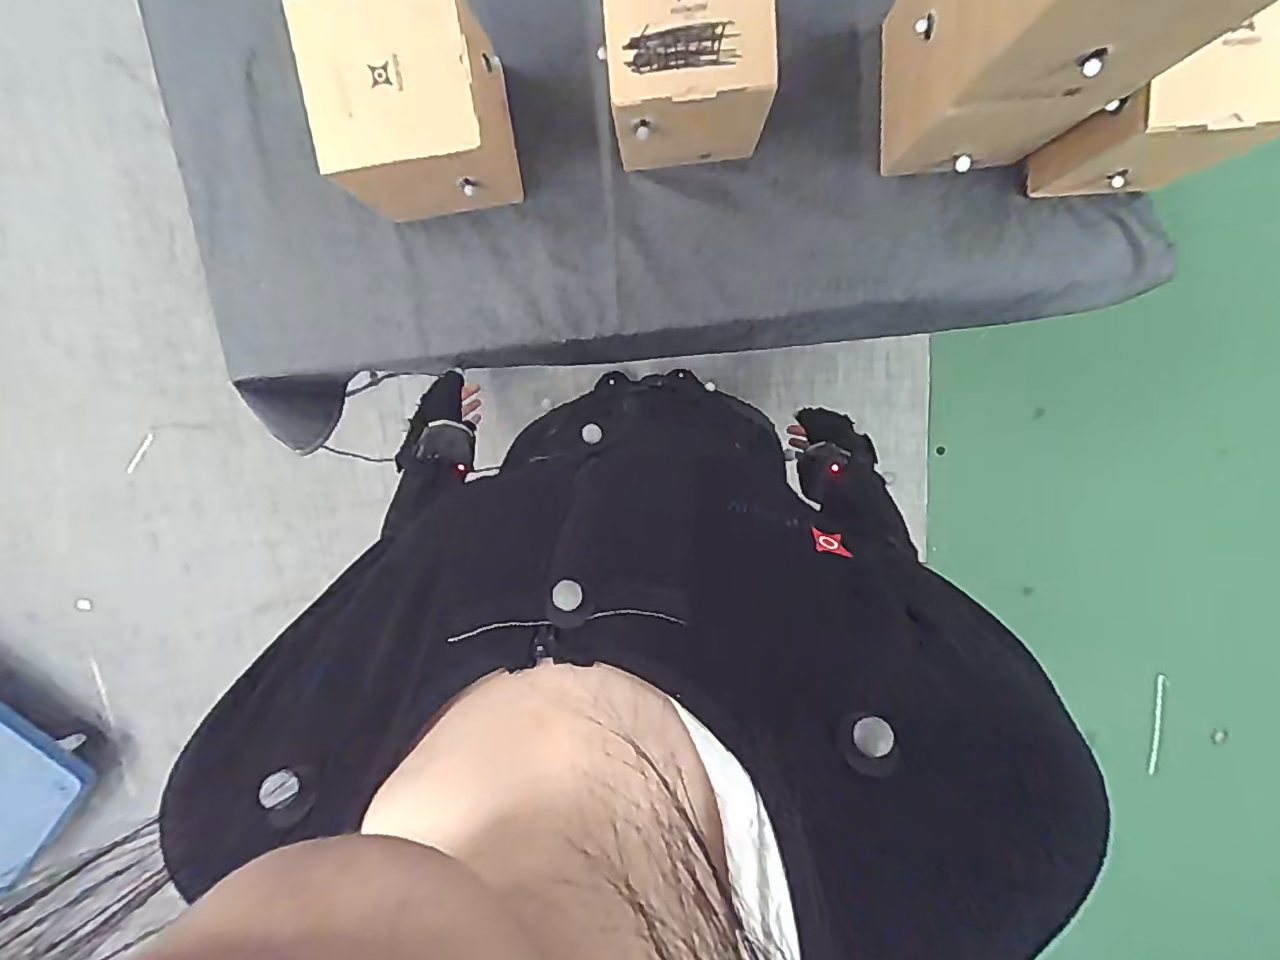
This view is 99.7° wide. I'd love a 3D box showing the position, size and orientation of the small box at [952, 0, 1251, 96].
[{"bbox_3d":[0.371,-0.432,0.424,0.168,0.176,0.179,-2,100,3],"label":"small box"}]
